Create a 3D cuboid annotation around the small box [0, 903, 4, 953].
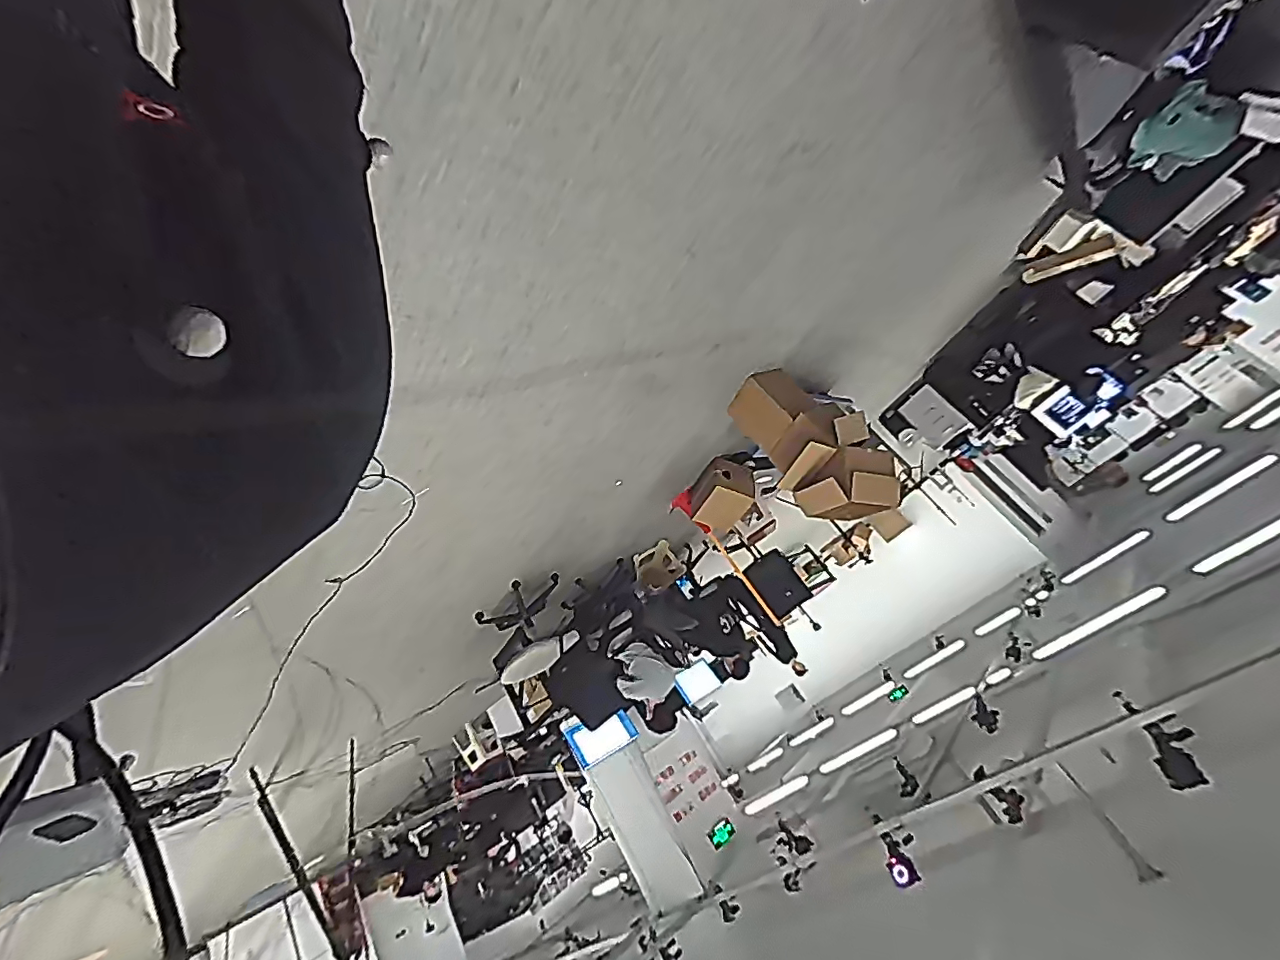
[{"bbox_3d":[-1.697,1.108,1.320,0.168,0.176,0.179,-8,145,-47],"label":"small box"}]
